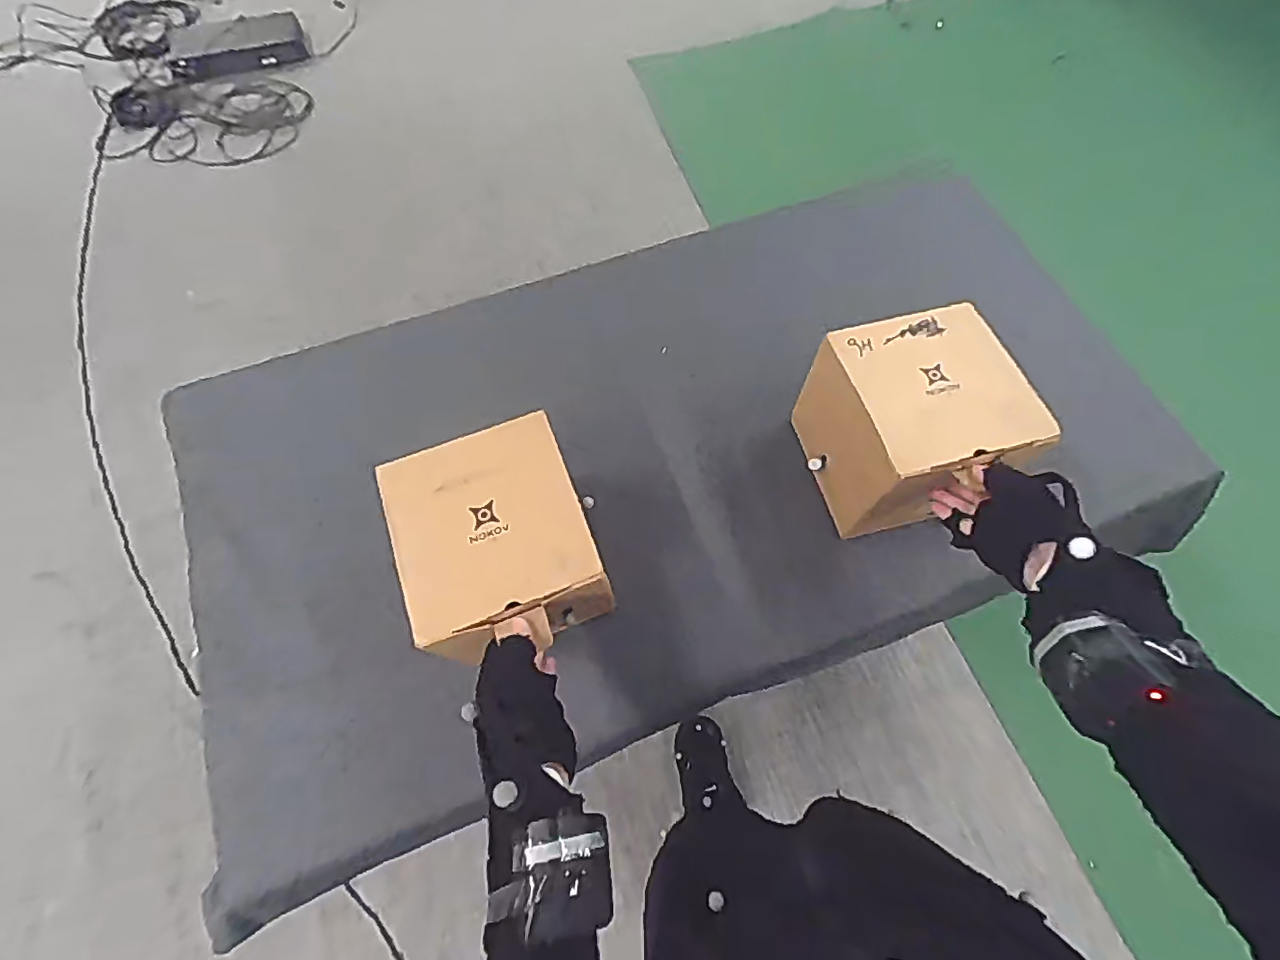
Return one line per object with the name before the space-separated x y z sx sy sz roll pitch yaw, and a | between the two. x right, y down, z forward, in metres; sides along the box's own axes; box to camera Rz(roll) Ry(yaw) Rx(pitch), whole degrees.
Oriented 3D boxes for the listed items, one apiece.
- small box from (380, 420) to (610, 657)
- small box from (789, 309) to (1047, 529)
small box | -0.137 0.072 0.561 0.168 0.176 0.179 -21 68 -8
small box | 0.288 -0.056 0.608 0.168 0.176 0.179 -13 65 -5
